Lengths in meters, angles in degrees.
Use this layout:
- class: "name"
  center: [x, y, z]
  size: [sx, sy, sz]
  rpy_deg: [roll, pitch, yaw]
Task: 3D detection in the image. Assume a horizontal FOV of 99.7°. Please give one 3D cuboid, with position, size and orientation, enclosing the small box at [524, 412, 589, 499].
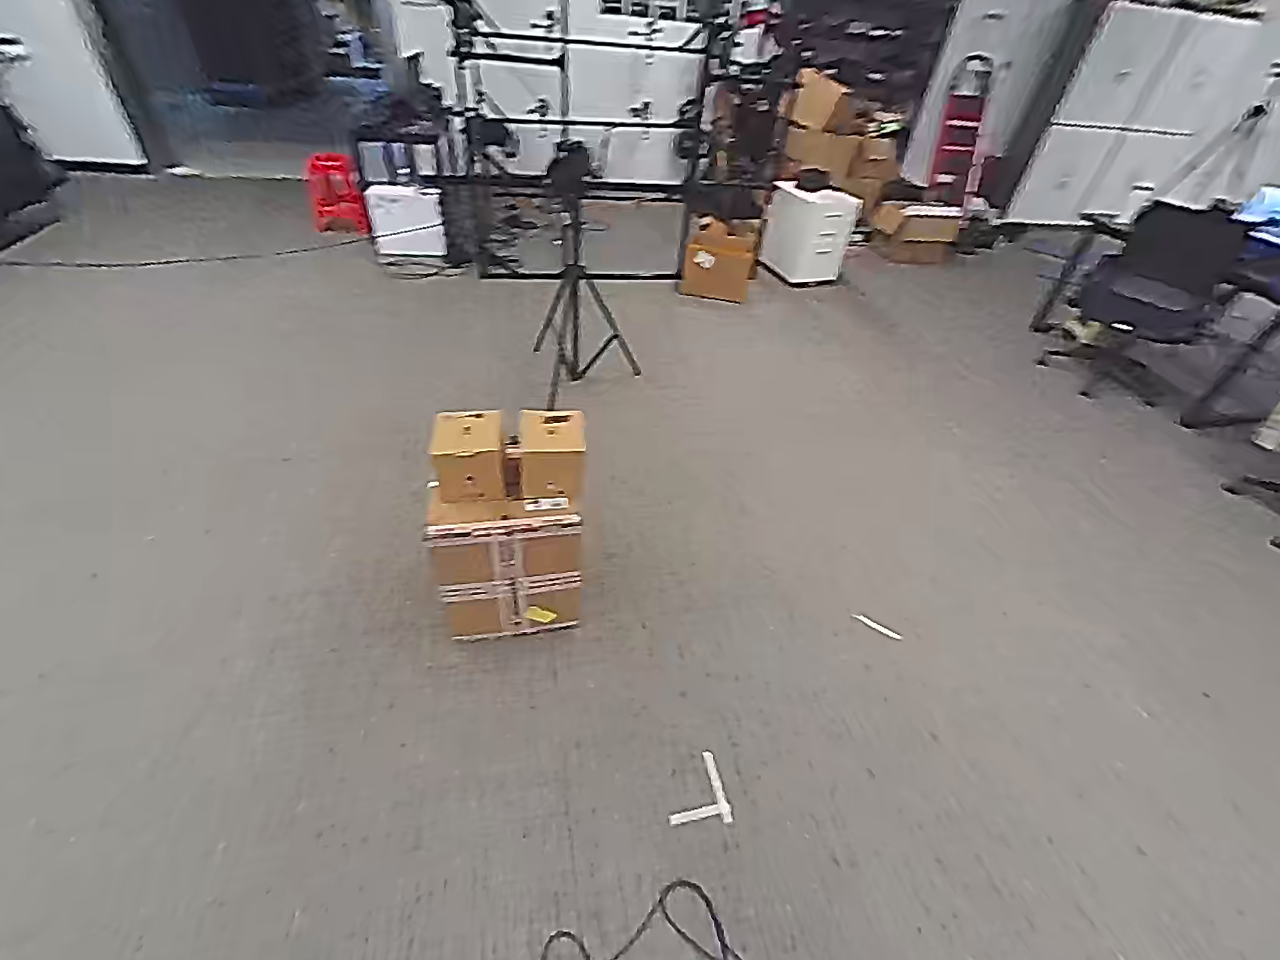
- class: "small box"
  center: [-0.232, -0.066, 1.472]
  size: [0.168, 0.176, 0.179]
  rpy_deg: [-1, 44, -11]

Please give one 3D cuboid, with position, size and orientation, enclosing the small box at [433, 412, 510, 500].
- class: "small box"
  center: [-0.438, -0.058, 1.436]
  size: [0.168, 0.176, 0.179]
  rpy_deg: [-3, 44, -8]
